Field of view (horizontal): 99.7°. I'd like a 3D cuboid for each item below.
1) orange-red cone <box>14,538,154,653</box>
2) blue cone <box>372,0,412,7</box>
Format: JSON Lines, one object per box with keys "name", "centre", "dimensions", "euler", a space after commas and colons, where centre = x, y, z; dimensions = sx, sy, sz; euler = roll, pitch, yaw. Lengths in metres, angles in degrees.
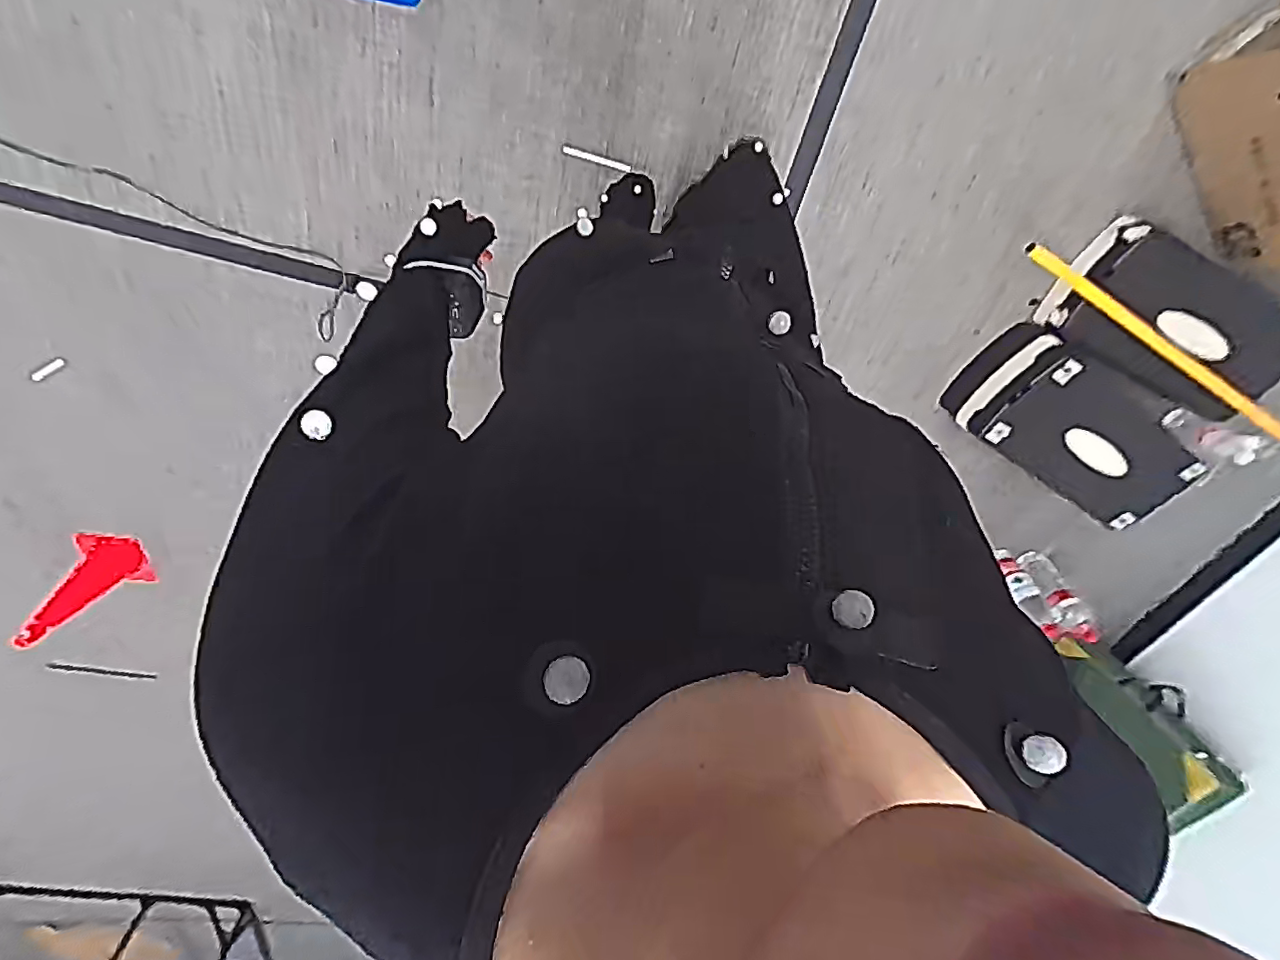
{"name": "orange-red cone", "centre": [-1.744, 0.371, 1.660], "dimensions": [0.199, 0.360, 0.198], "euler": [7, 125, -8]}
{"name": "blue cone", "centre": [-0.494, -0.884, 0.827], "dimensions": [0.193, 0.380, 0.192], "euler": [7, 124, -7]}
